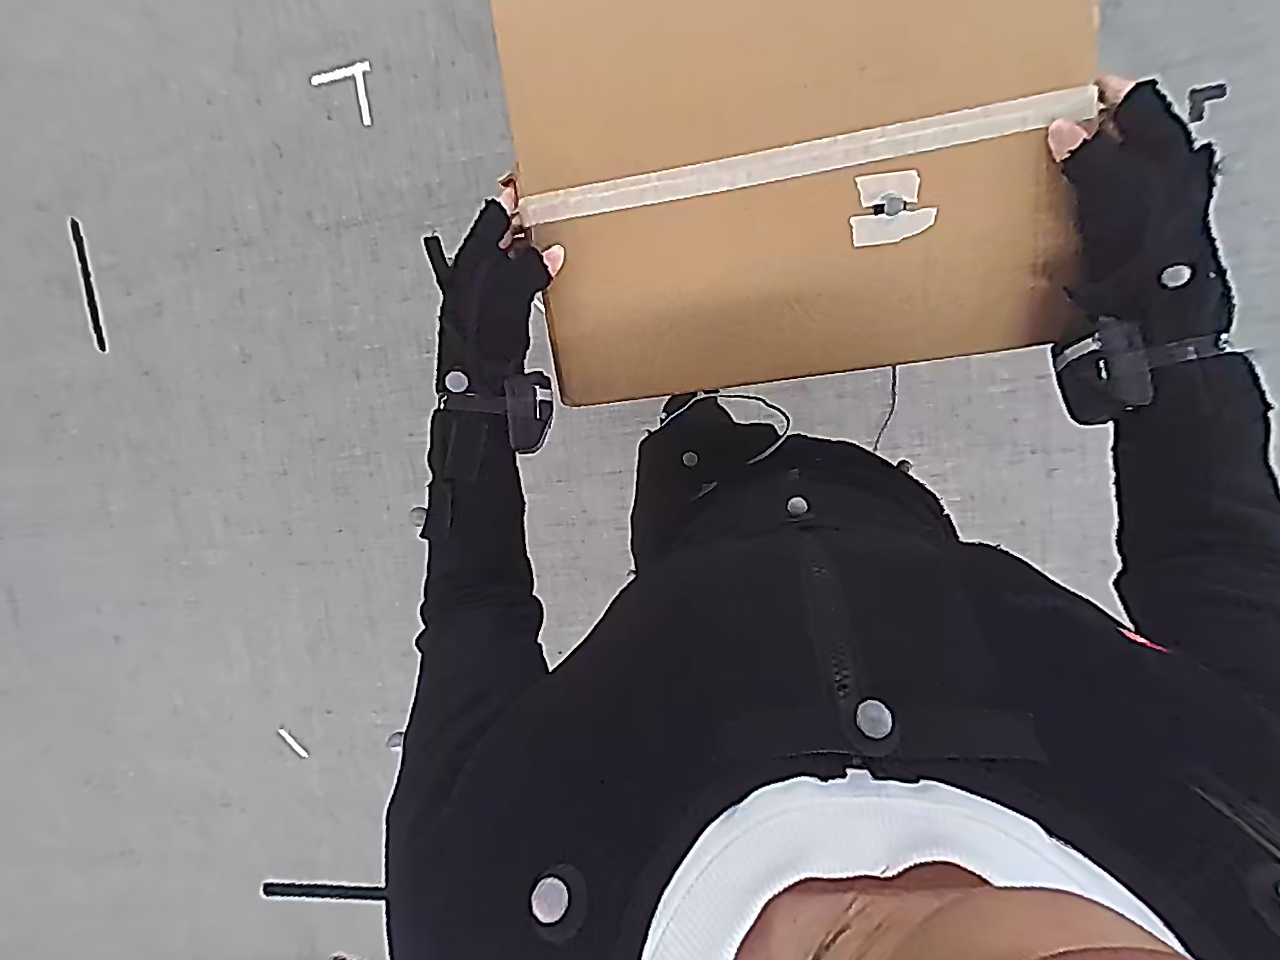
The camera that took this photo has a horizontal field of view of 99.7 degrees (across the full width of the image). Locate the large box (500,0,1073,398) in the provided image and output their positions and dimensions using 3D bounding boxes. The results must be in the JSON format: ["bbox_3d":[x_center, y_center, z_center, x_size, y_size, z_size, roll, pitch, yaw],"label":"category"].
[{"bbox_3d":[0.124,-0.277,0.556,0.408,0.320,0.320,-7,104,8],"label":"large box"}]
